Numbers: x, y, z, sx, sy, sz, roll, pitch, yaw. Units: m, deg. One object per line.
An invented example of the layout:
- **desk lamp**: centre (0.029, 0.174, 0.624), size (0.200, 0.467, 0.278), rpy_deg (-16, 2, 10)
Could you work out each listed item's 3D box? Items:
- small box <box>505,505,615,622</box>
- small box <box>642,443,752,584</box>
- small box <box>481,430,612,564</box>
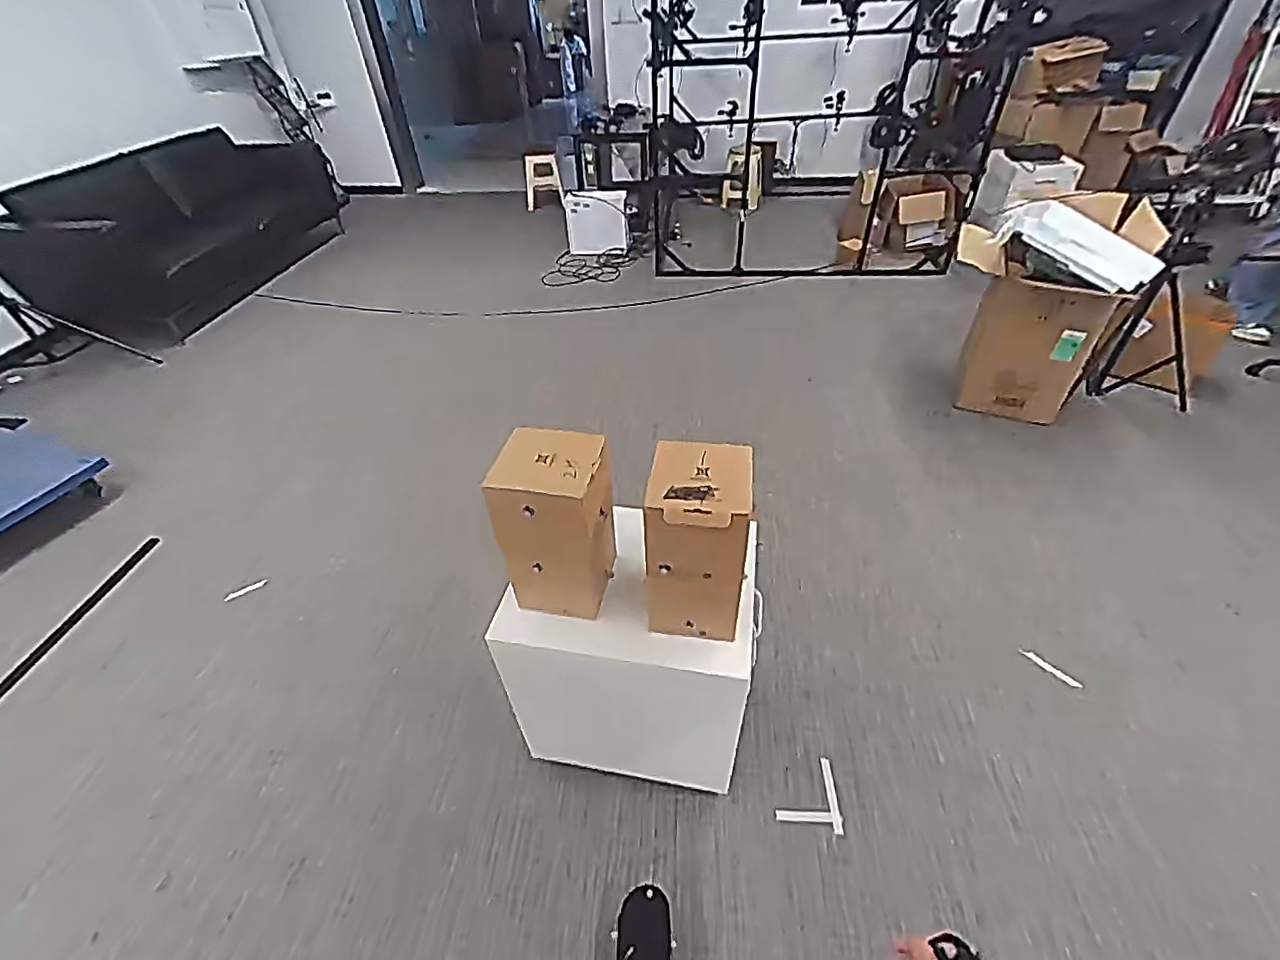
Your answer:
- **small box**: centre (-0.149, 0.152, 1.079), size (0.168, 0.176, 0.179), rpy_deg (6, 41, 10)
- **small box**: centre (0.101, 0.058, 0.925), size (0.168, 0.176, 0.179), rpy_deg (4, 41, 8)
- **small box**: centre (-0.155, 0.031, 0.967), size (0.179, 0.176, 0.168), rpy_deg (6, 43, 9)
